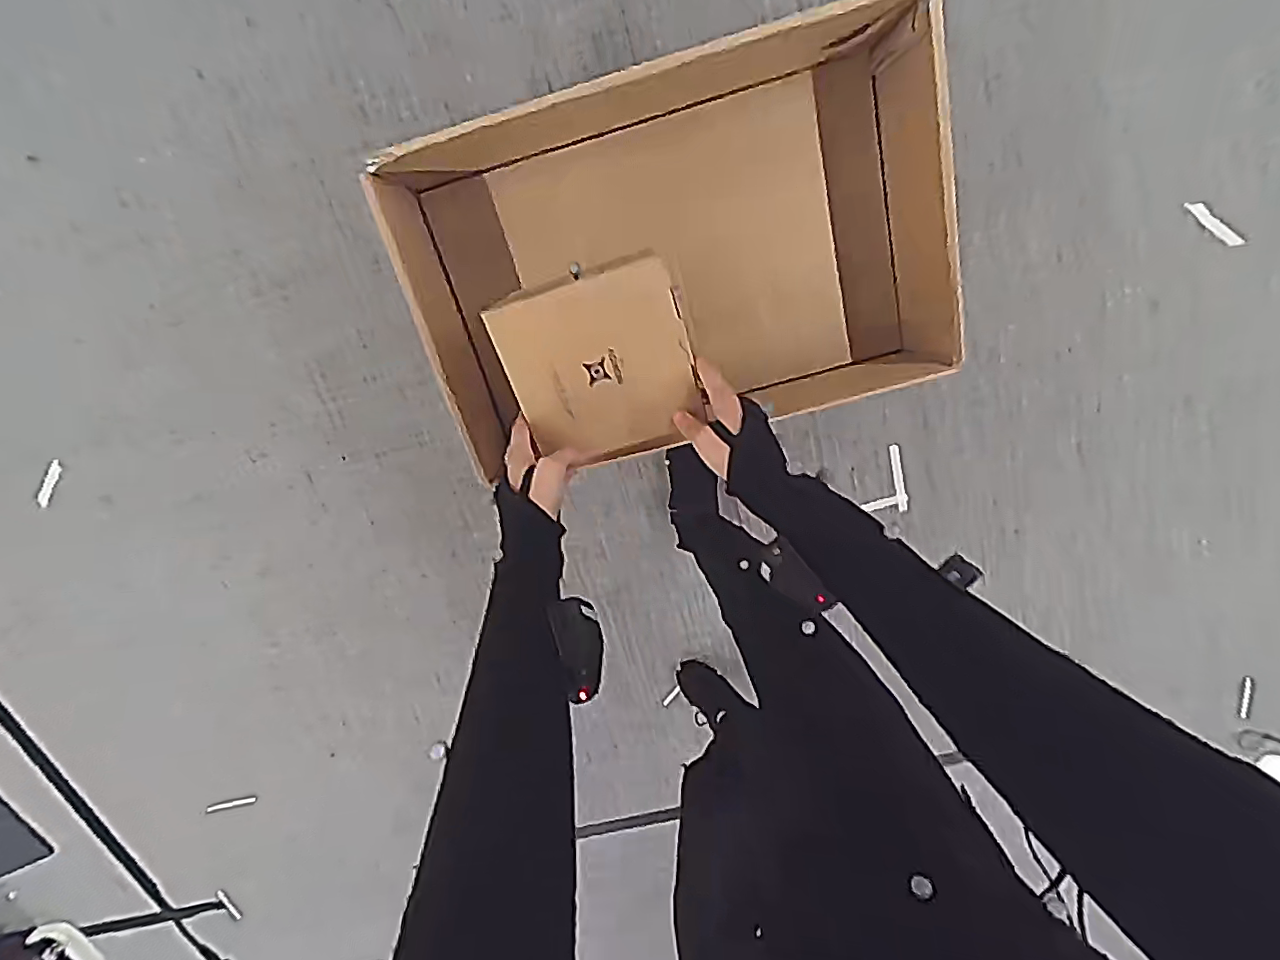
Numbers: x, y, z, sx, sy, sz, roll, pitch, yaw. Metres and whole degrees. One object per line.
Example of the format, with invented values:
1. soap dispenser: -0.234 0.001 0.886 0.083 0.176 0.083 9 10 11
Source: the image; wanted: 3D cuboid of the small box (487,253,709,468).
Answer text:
1. small box: -0.041 -0.140 0.589 0.179 0.176 0.168 -18 113 4
